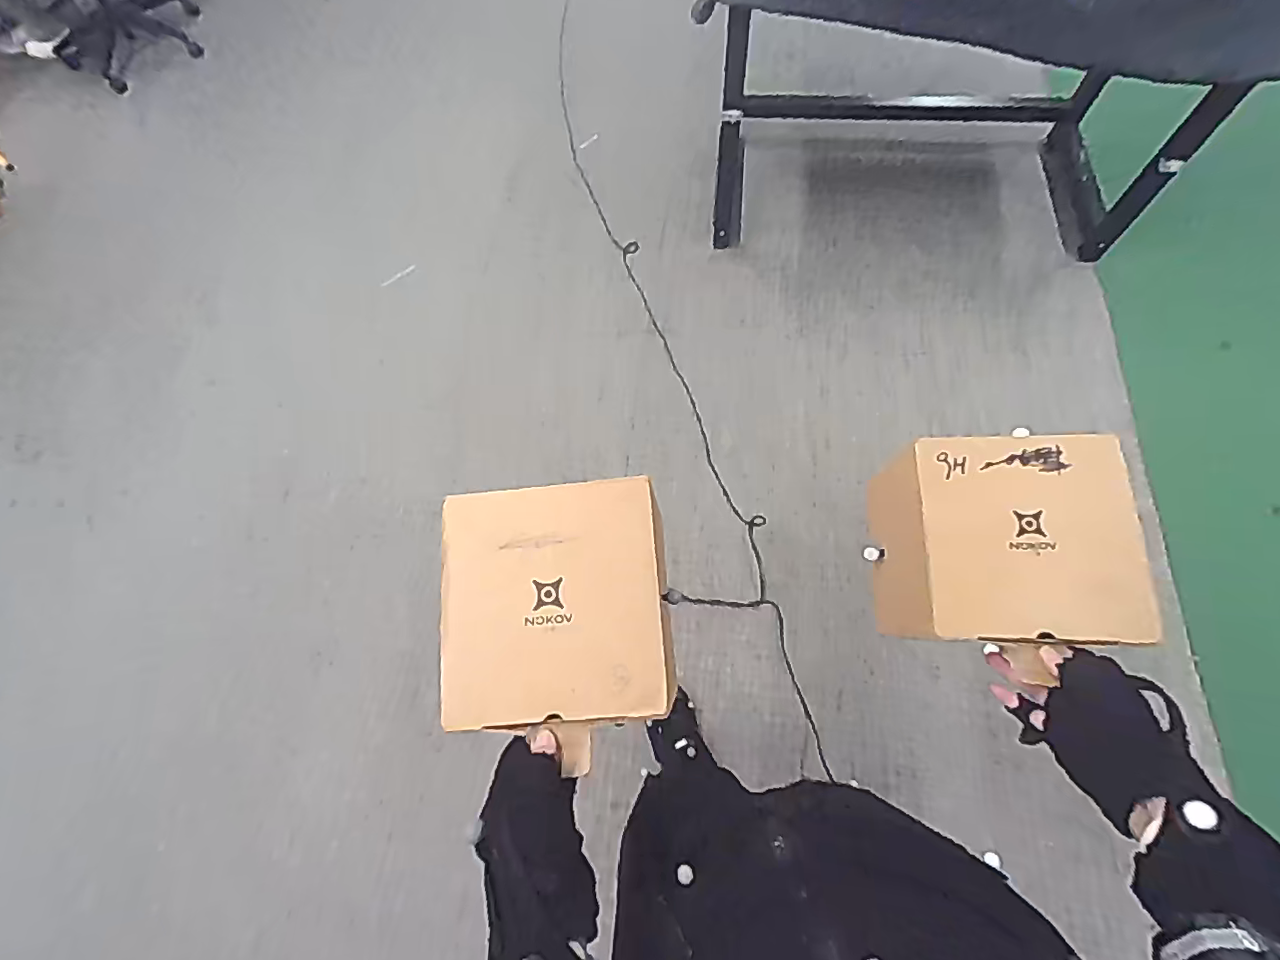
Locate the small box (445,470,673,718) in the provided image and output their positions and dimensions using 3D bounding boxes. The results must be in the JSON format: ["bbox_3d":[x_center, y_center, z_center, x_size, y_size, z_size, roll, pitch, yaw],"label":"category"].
[{"bbox_3d":[-0.060,0.102,0.486,0.168,0.176,0.179,-6,74,3],"label":"small box"}]

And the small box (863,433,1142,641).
[{"bbox_3d":[0.332,0.063,0.536,0.168,0.176,0.179,0,75,7],"label":"small box"}]
